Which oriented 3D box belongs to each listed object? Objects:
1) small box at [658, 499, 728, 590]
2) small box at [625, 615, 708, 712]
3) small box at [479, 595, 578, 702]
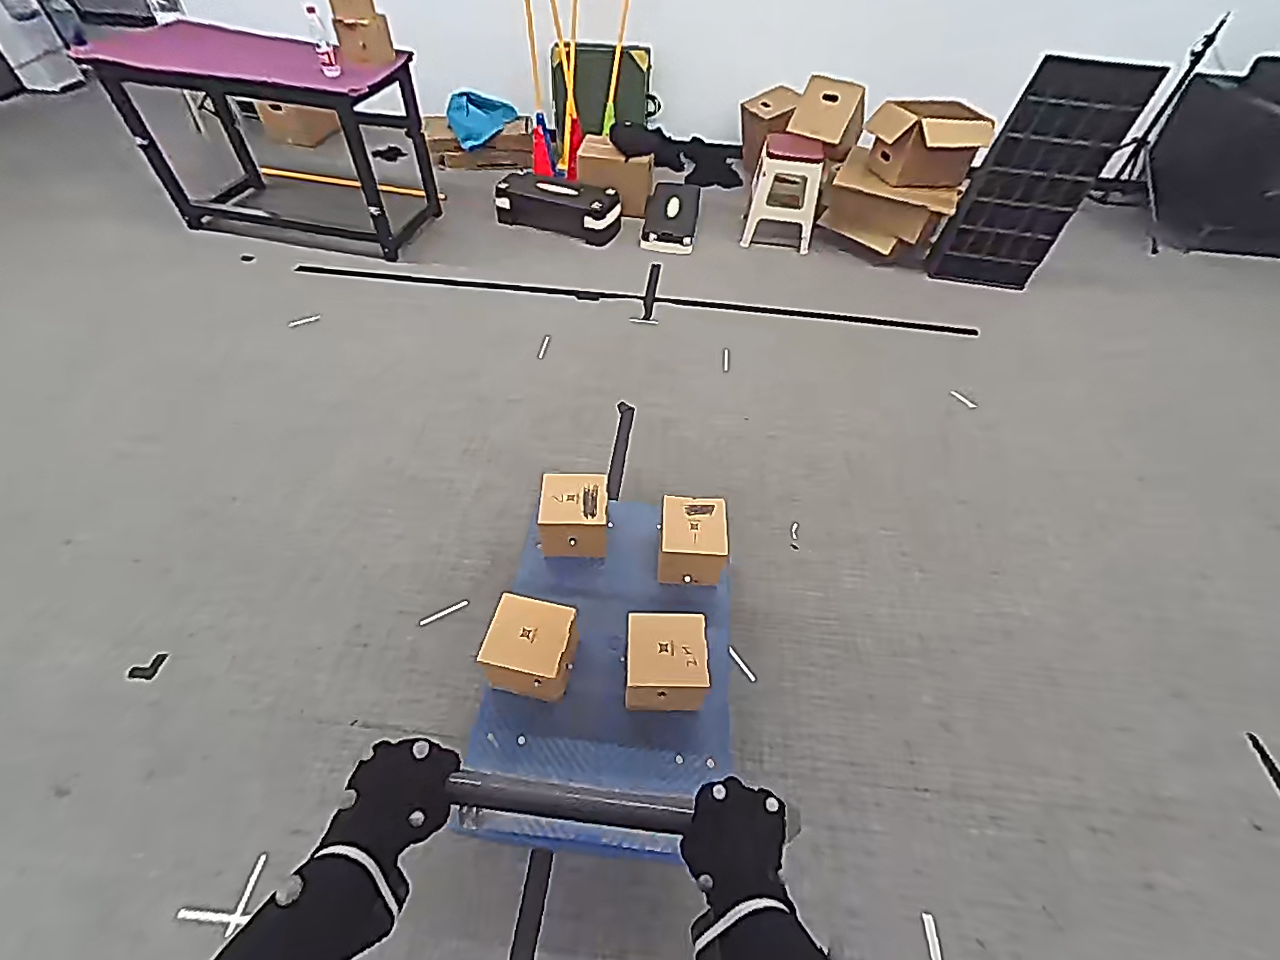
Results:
[{"bbox_3d":[0.138,0.173,1.452,0.168,0.176,0.179,4,52,0],"label":"small box"},{"bbox_3d":[0.056,0.425,1.243,0.179,0.176,0.168,2,51,-1],"label":"small box"},{"bbox_3d":[-0.249,0.393,1.252,0.179,0.176,0.168,12,51,4],"label":"small box"}]
